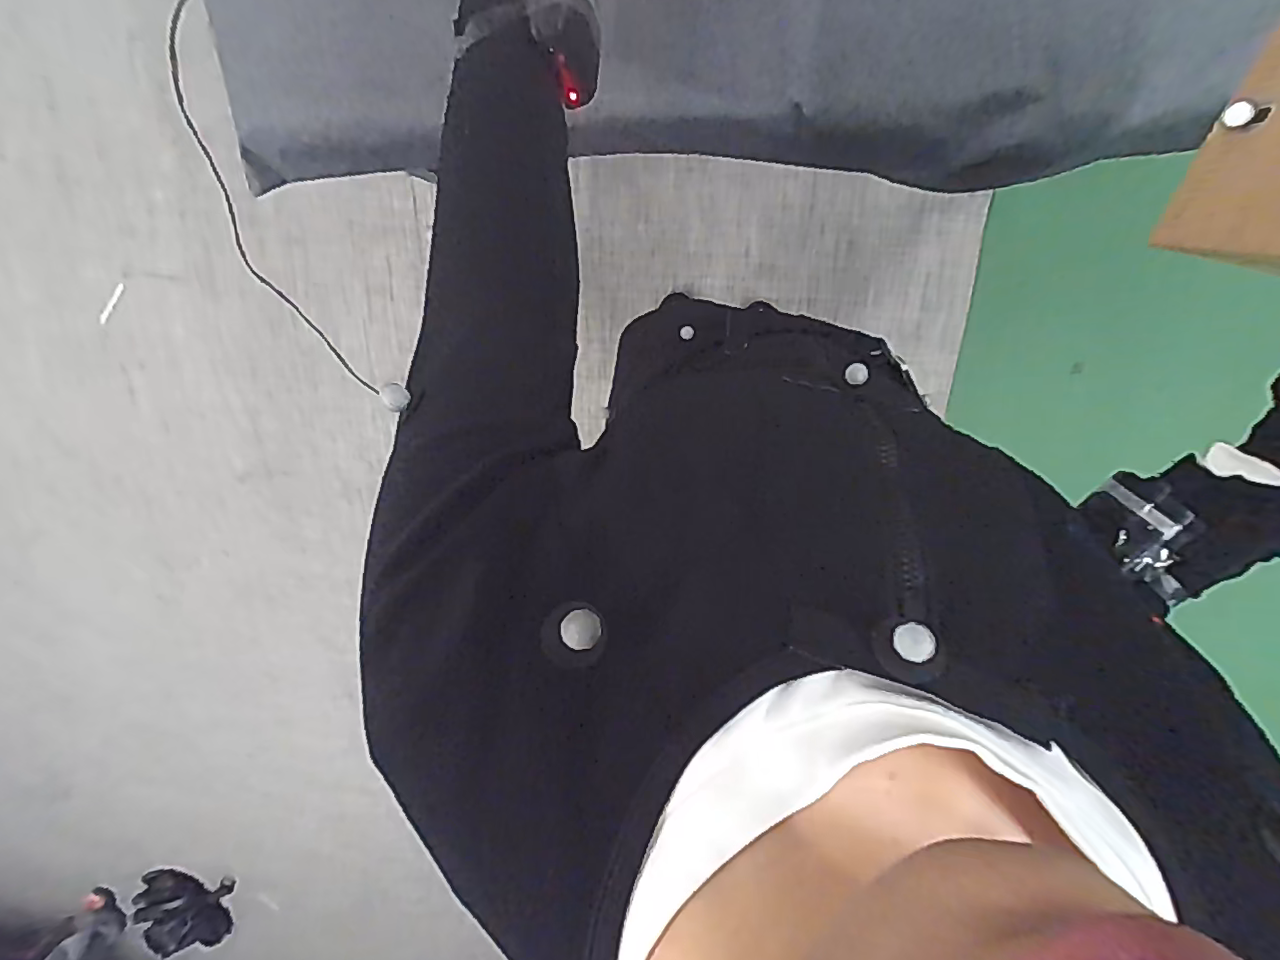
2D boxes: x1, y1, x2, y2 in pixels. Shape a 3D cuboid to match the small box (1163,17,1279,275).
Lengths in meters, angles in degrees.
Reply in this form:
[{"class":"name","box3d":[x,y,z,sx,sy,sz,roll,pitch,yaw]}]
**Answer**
[{"class":"small box","box3d":[0.492,-0.210,0.331,0.168,0.176,0.179,15,119,3]}]
